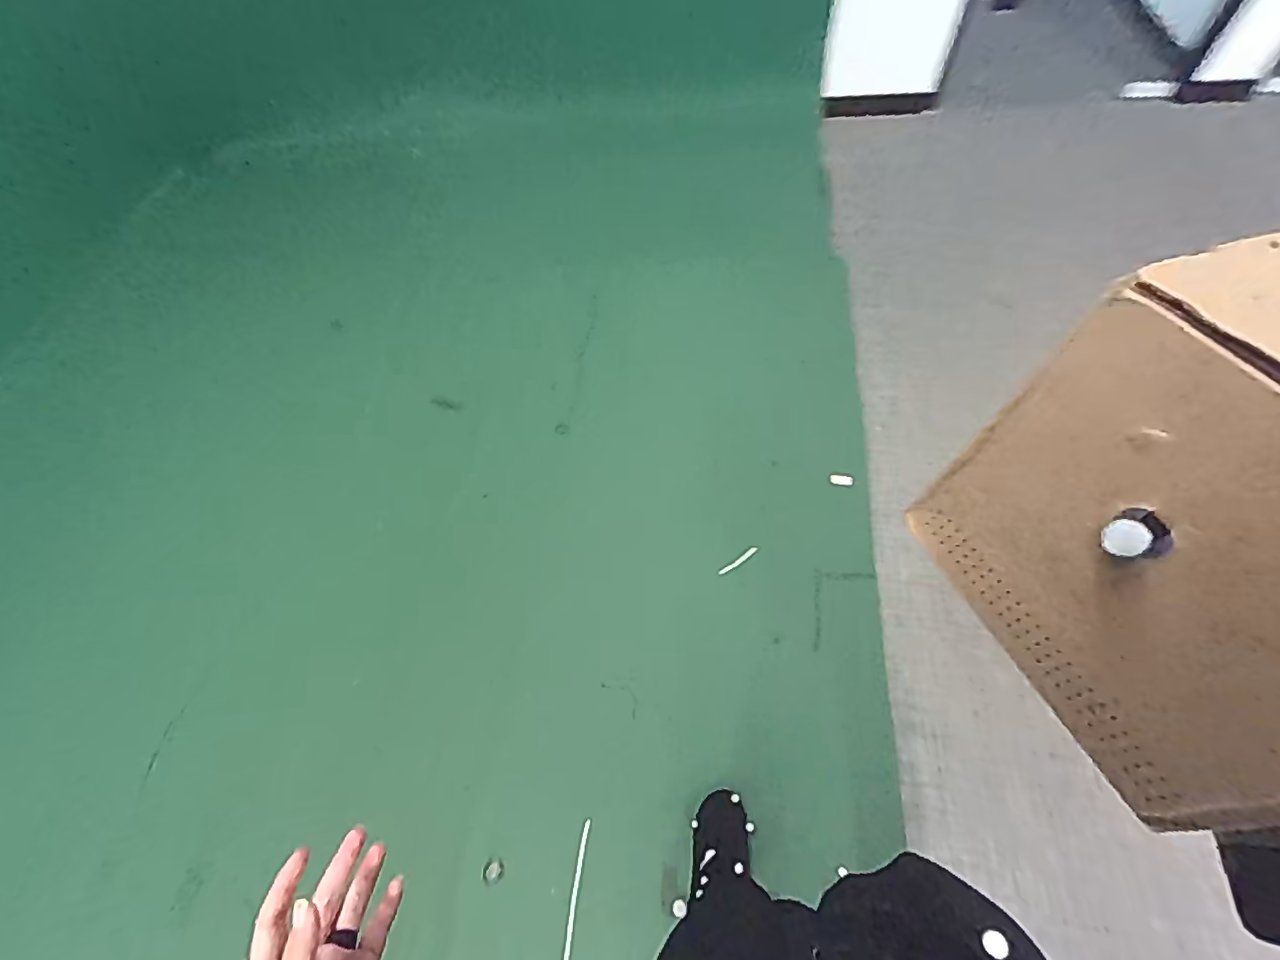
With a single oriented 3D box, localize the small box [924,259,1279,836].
[{"bbox_3d":[0.274,0.027,0.242,0.168,0.176,0.179,-18,57,-17],"label":"small box"}]
